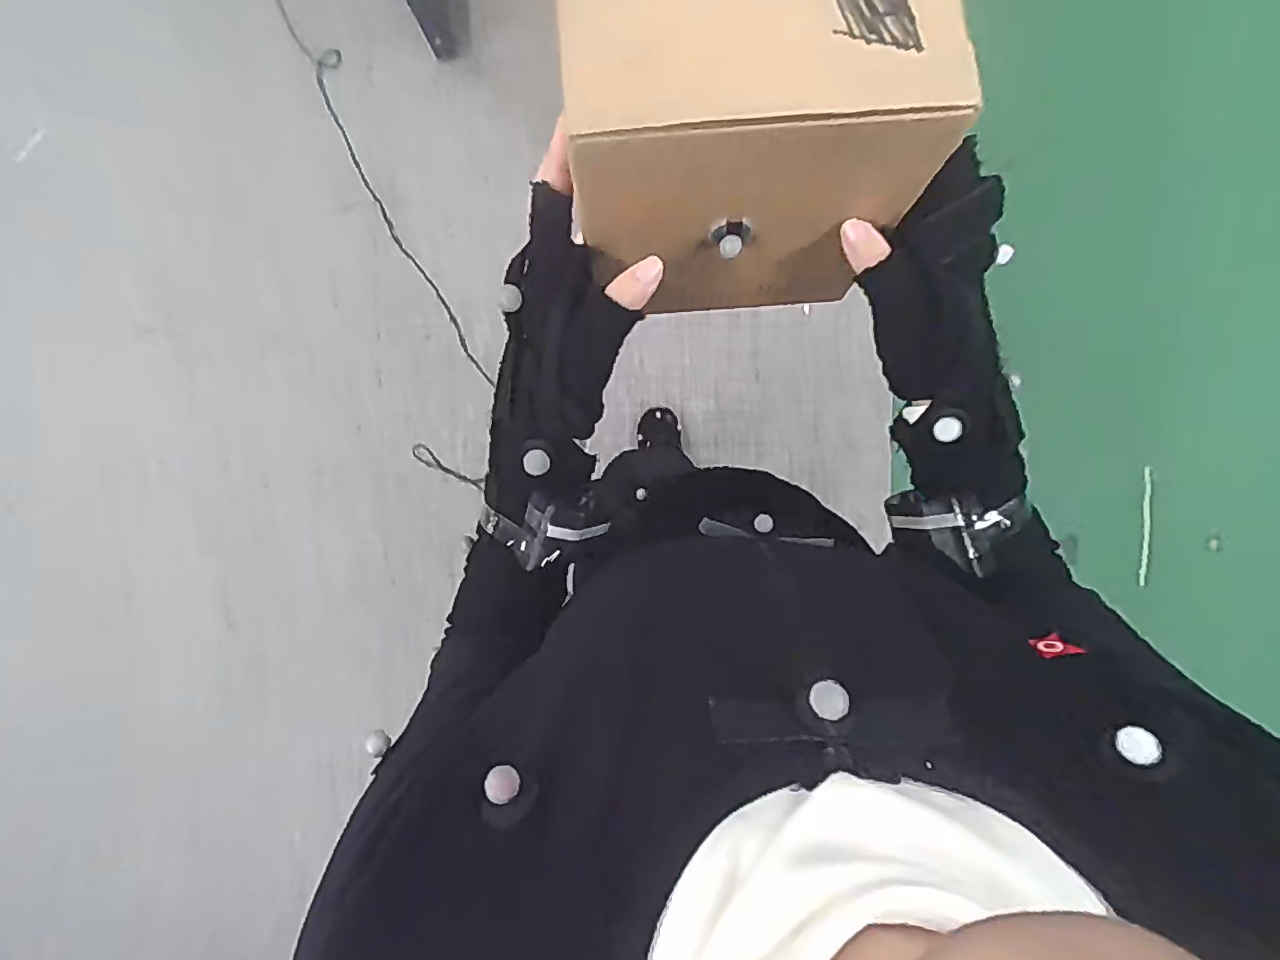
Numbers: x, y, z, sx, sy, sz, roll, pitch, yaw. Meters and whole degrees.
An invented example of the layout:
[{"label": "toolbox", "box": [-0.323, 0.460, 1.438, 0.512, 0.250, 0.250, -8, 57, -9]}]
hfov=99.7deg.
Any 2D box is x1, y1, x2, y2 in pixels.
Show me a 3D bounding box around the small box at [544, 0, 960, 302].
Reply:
[{"label": "small box", "box": [0.043, -0.217, 0.313, 0.179, 0.176, 0.168, -2, 81, -1]}]
